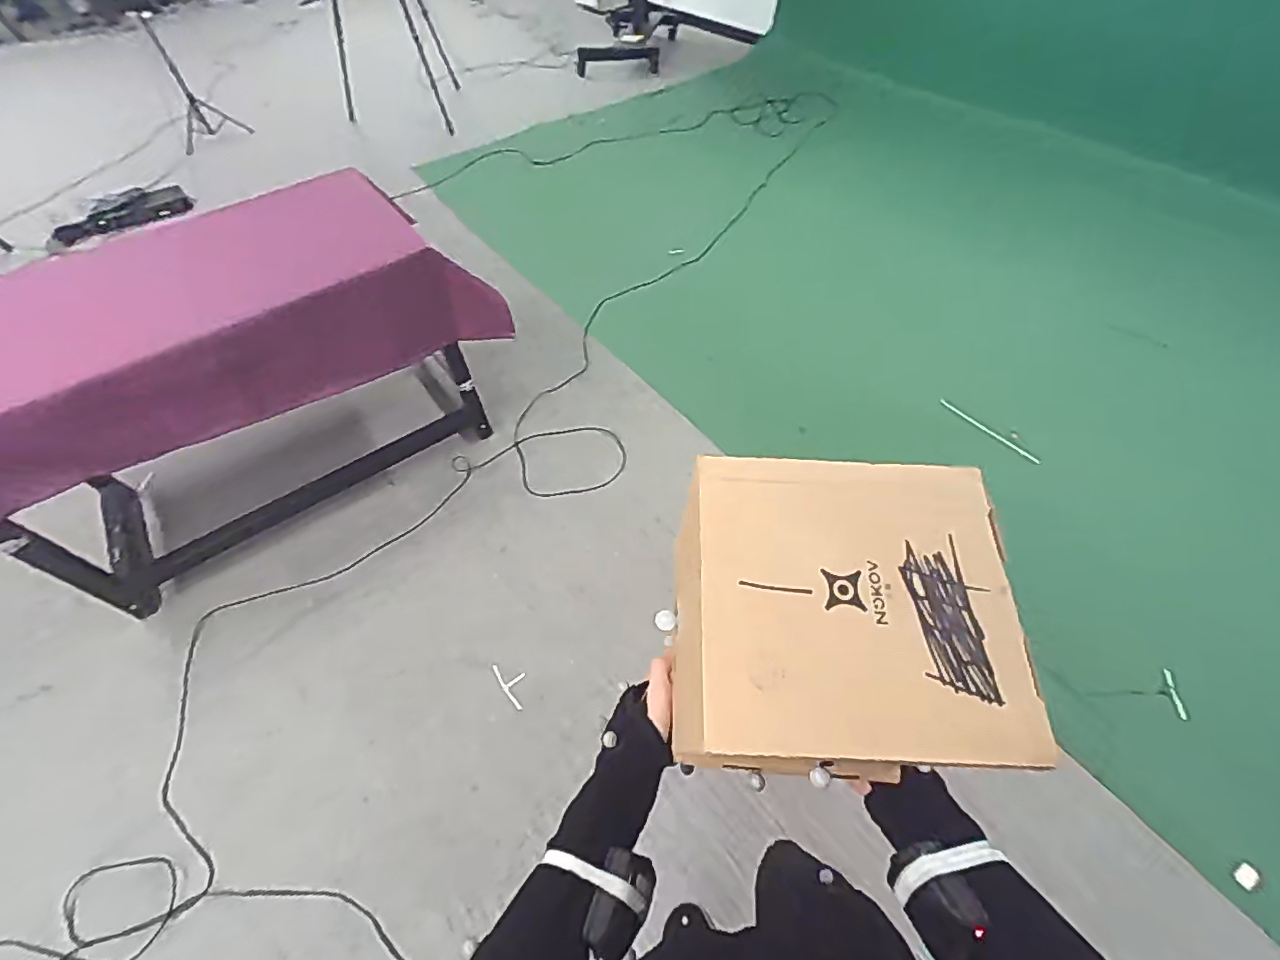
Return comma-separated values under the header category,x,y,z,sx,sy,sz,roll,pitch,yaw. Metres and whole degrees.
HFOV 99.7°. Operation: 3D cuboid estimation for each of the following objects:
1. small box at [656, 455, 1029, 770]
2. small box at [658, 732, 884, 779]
category,x,y,z,sx,sy,sz,roll,pitch,yaw
small box,0.105,0.098,0.368,0.179,0.176,0.168,2,63,0
small box,0.106,0.176,0.513,0.168,0.176,0.179,5,63,1
